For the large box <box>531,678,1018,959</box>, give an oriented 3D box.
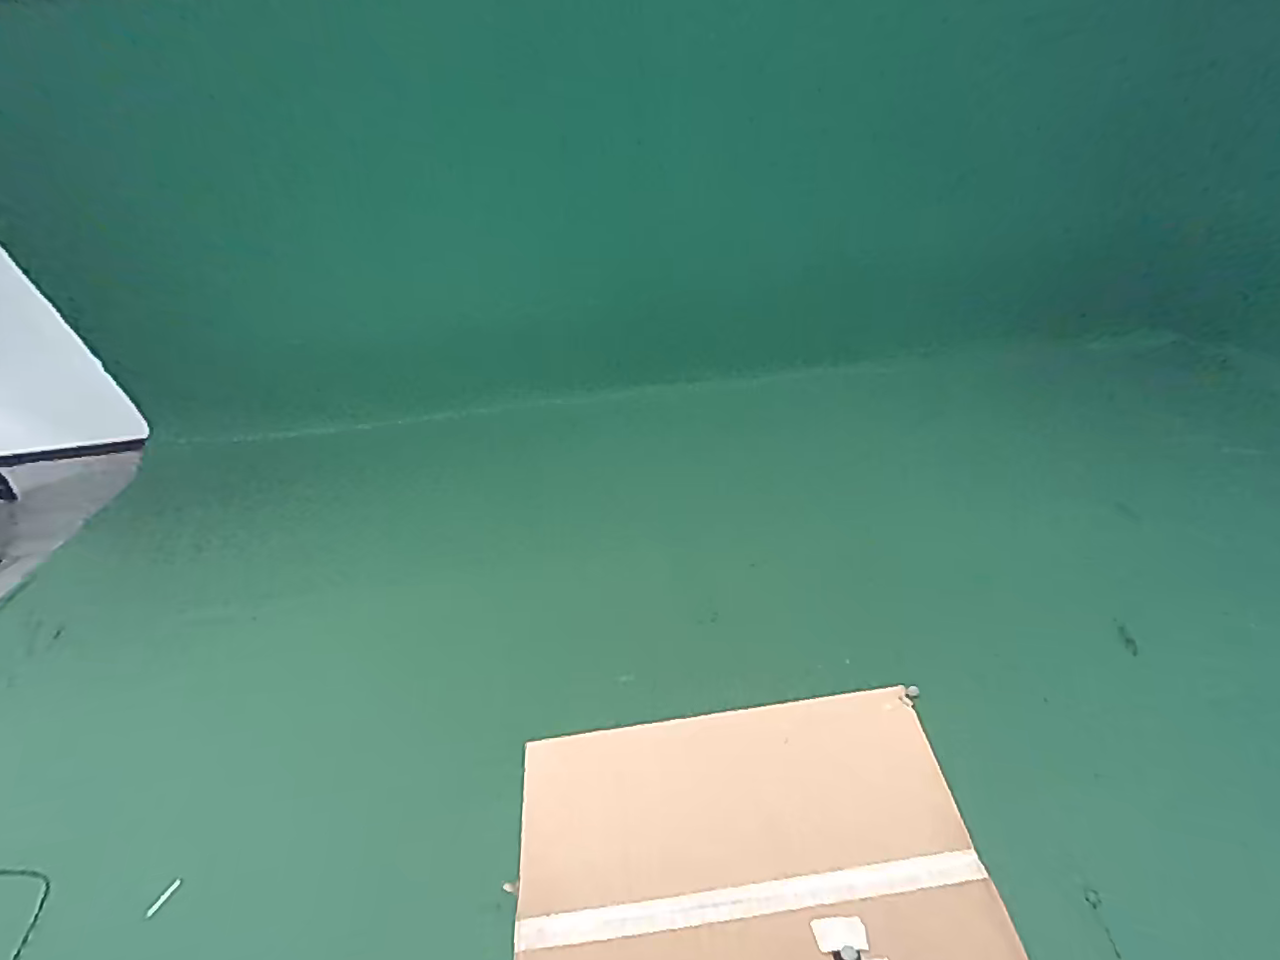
[{"bbox_3d":[0.111,0.457,0.592,0.408,0.320,0.320,-9,48,-1],"label":"large box"}]
